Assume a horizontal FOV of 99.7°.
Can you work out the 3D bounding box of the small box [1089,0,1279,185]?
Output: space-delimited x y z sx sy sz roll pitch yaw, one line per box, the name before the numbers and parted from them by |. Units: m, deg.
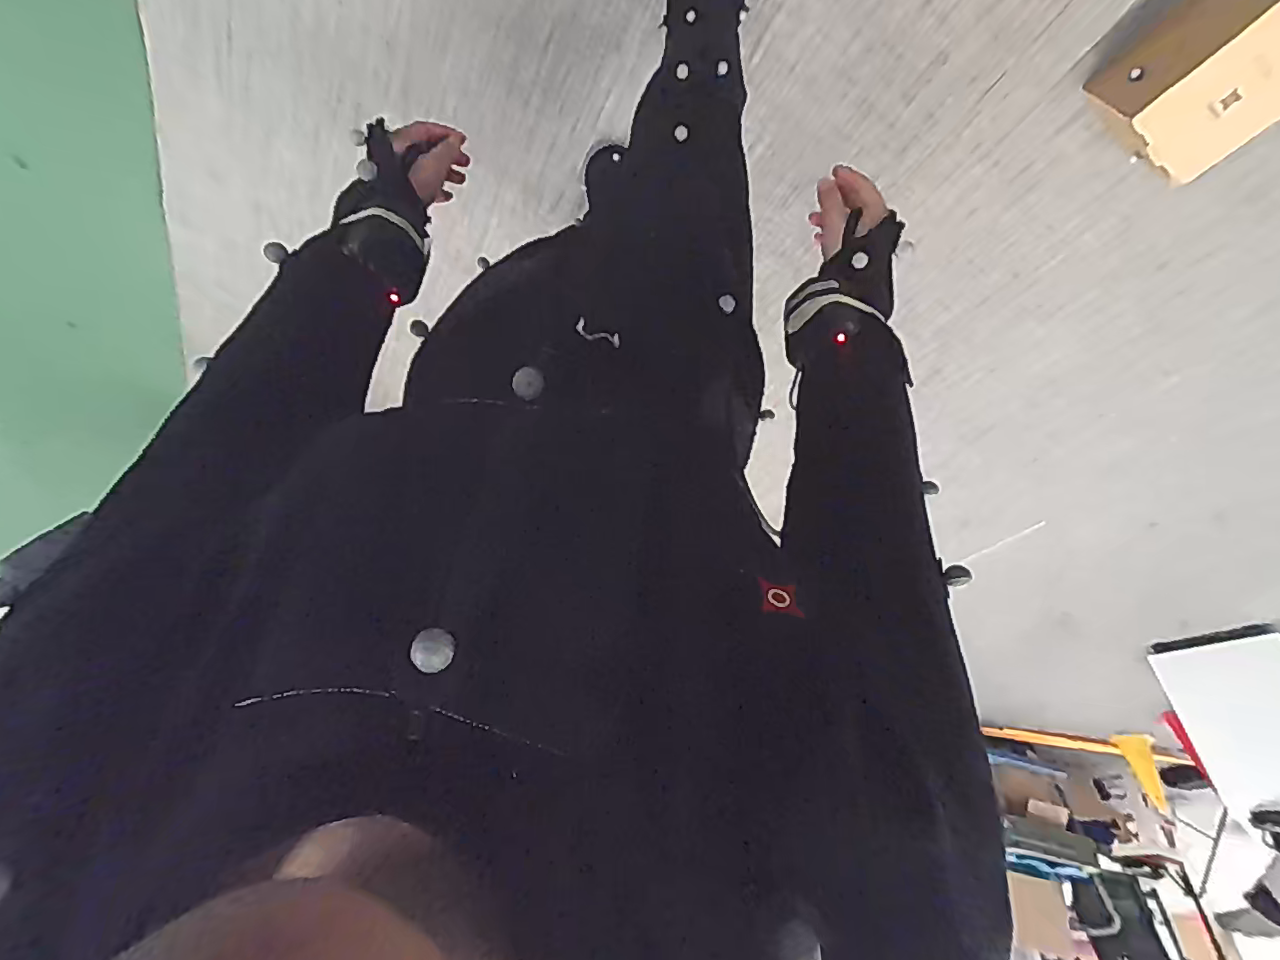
small box | 0.838 -0.605 0.826 0.168 0.176 0.179 26 135 -23
